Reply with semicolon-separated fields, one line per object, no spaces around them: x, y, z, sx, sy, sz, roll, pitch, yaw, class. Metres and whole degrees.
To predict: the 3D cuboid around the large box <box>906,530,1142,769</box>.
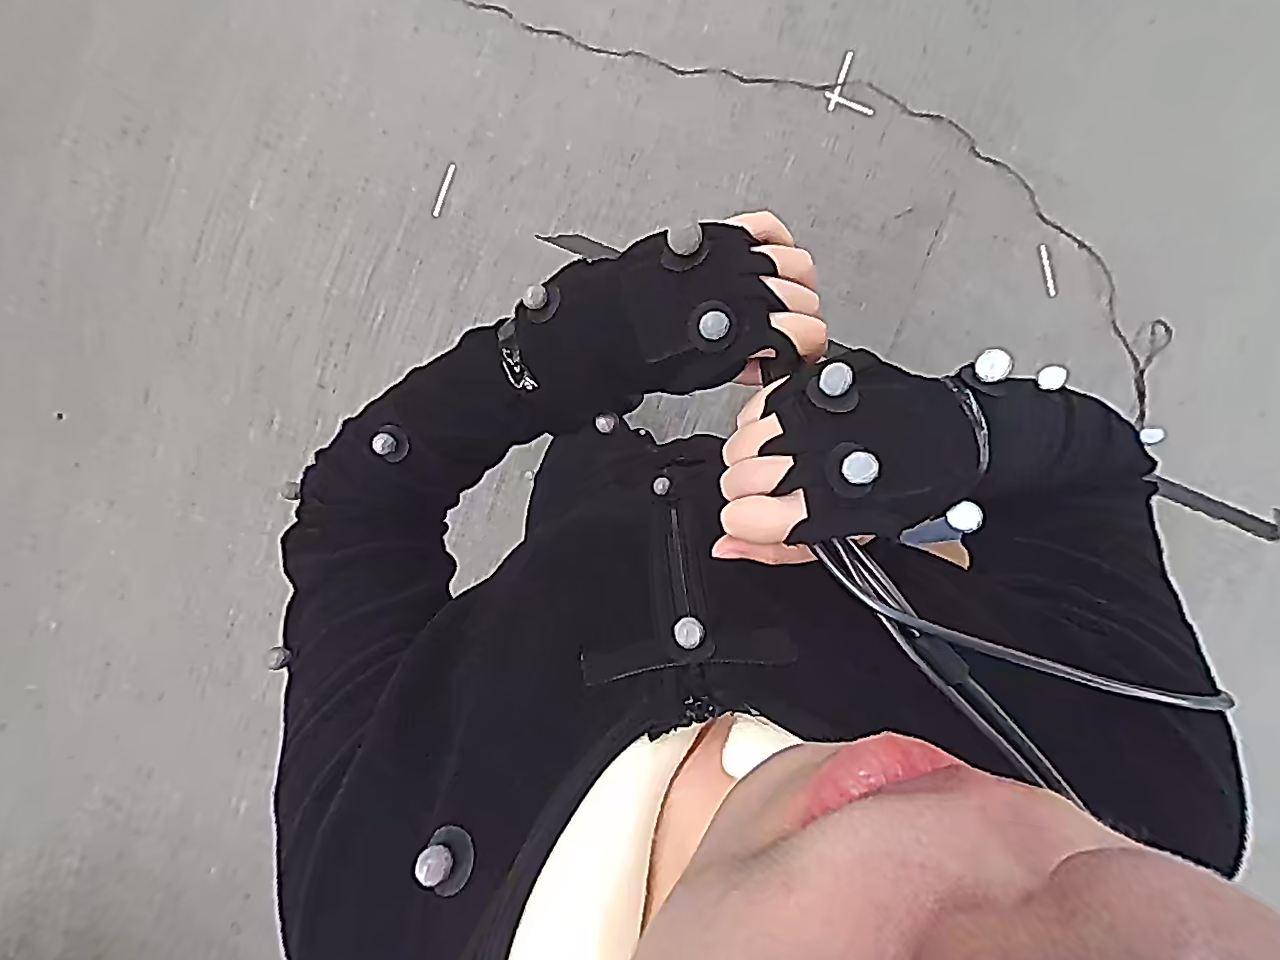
0.833;0.351;1.213;0.320;0.320;0.408;-6;96;0;large box
